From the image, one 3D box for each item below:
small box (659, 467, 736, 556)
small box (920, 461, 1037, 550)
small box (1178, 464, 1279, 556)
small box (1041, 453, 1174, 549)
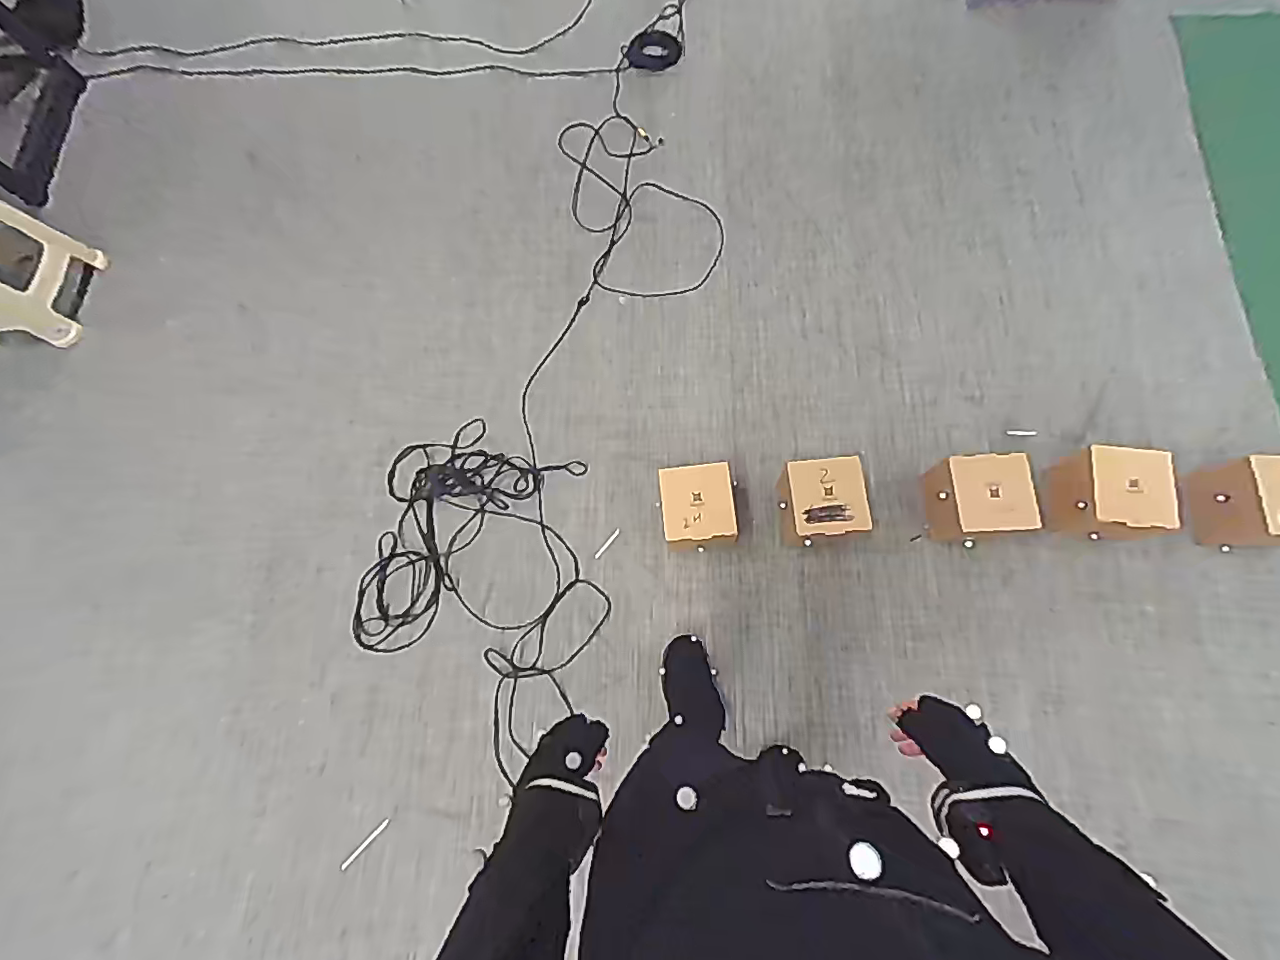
[{"bbox_3d":[0.136,0.082,1.318,0.168,0.176,0.179,-6,74,4],"label":"small box"},{"bbox_3d":[0.781,0.064,1.269,0.168,0.176,0.179,-3,75,6],"label":"small box"},{"bbox_3d":[1.383,0.074,1.217,0.168,0.176,0.179,2,73,5],"label":"small box"},{"bbox_3d":[1.066,0.054,1.249,0.168,0.176,0.179,6,75,6],"label":"small box"}]
